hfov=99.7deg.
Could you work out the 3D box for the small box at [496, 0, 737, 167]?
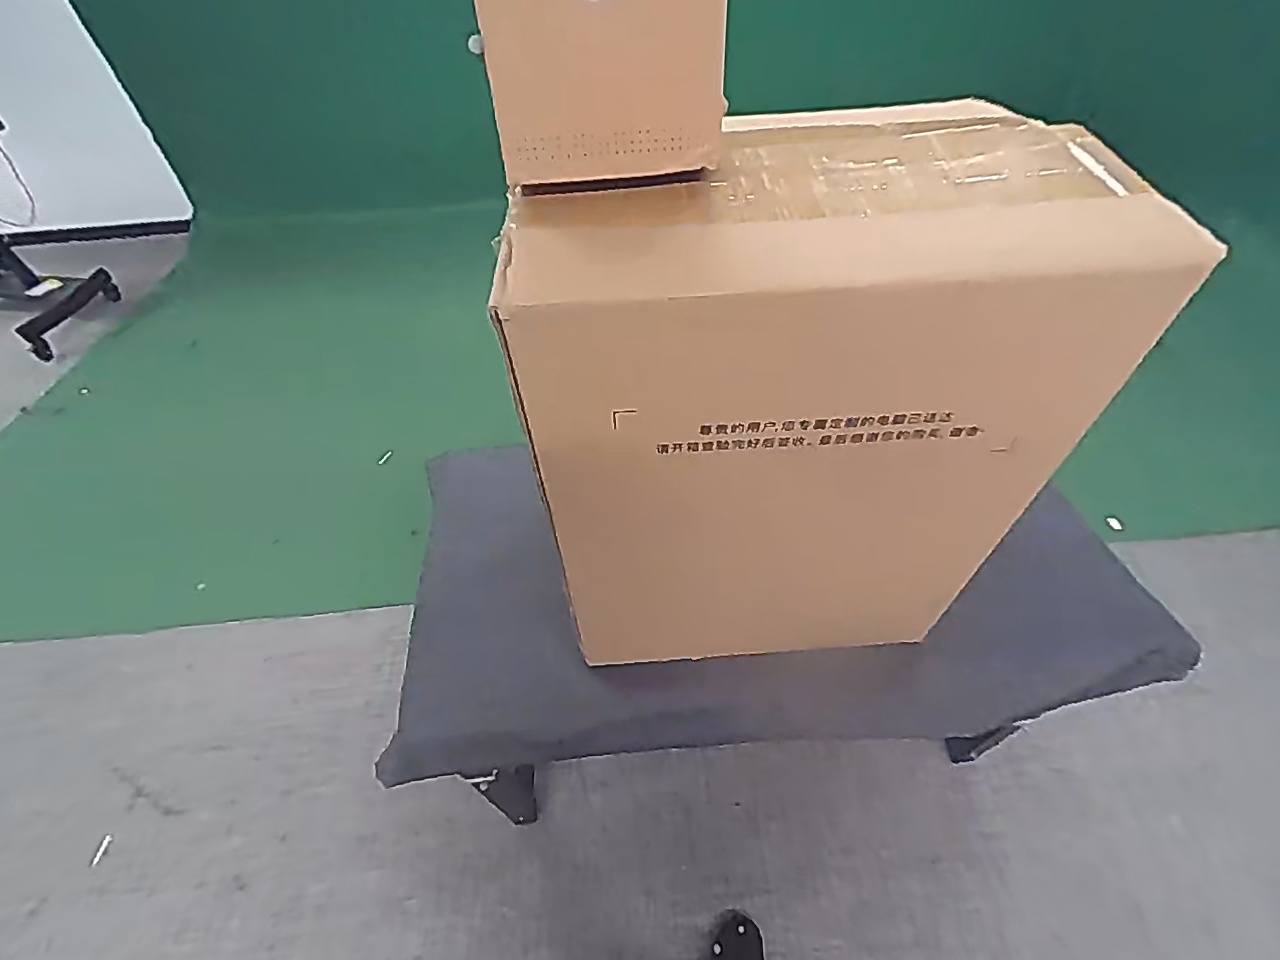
[{"bbox_3d":[-0.021,-0.366,0.441,0.179,0.176,0.168,-4,42,-4],"label":"small box"}]
